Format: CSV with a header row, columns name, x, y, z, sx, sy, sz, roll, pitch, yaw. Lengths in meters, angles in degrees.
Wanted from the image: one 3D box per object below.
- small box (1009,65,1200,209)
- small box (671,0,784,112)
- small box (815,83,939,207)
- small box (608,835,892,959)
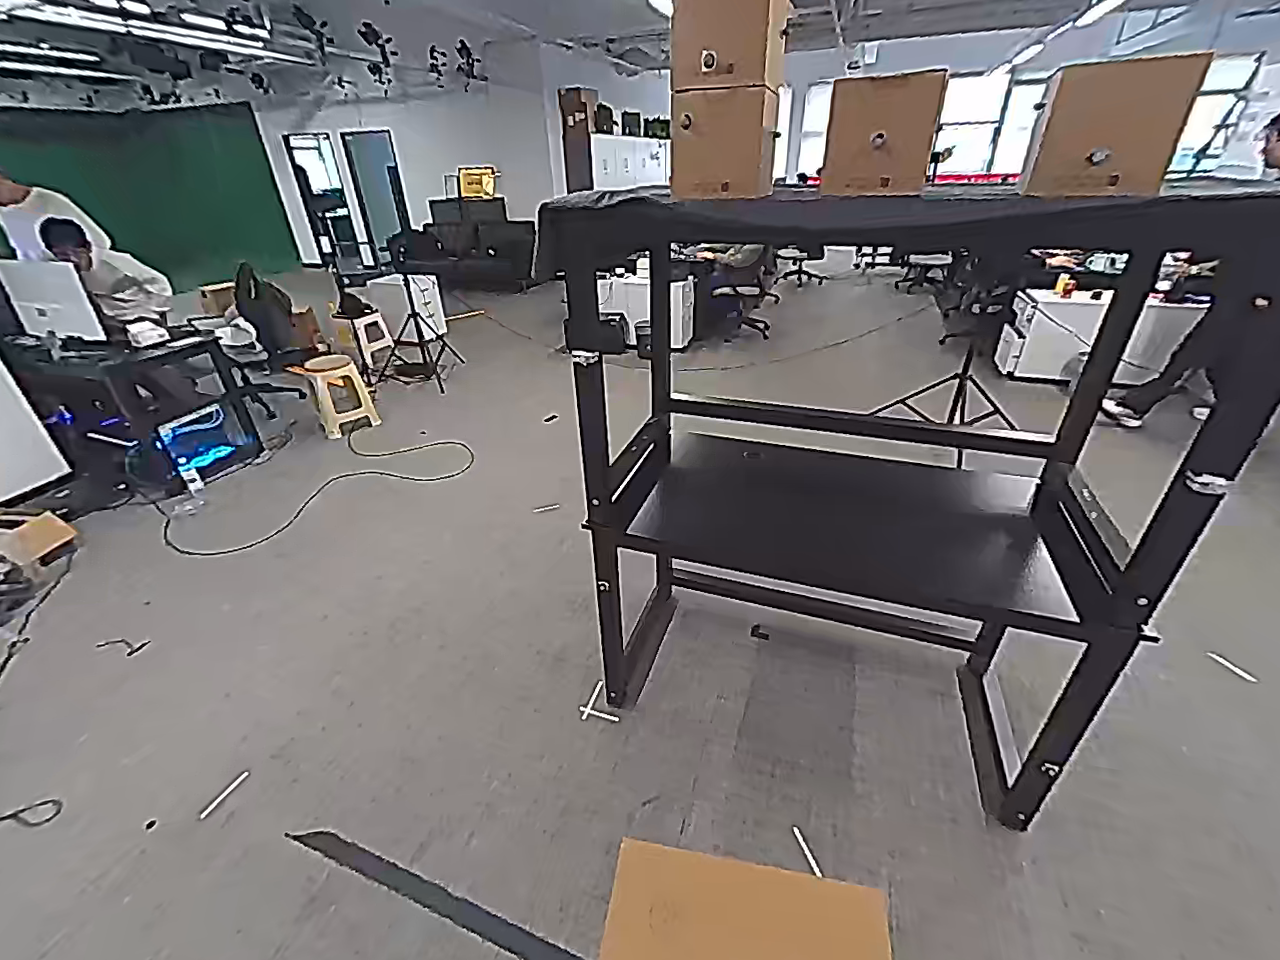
name,x,y,z,sx,sy,sz,roll,pitch,yaw
small box,0.698,-0.523,0.841,0.168,0.176,0.179,12,33,23
small box,0.152,-0.755,0.947,0.168,0.176,0.179,8,31,18
small box,0.405,-0.573,0.943,0.168,0.176,0.179,10,31,18
small box,0.060,0.363,0.335,0.168,0.176,0.179,4,38,11
